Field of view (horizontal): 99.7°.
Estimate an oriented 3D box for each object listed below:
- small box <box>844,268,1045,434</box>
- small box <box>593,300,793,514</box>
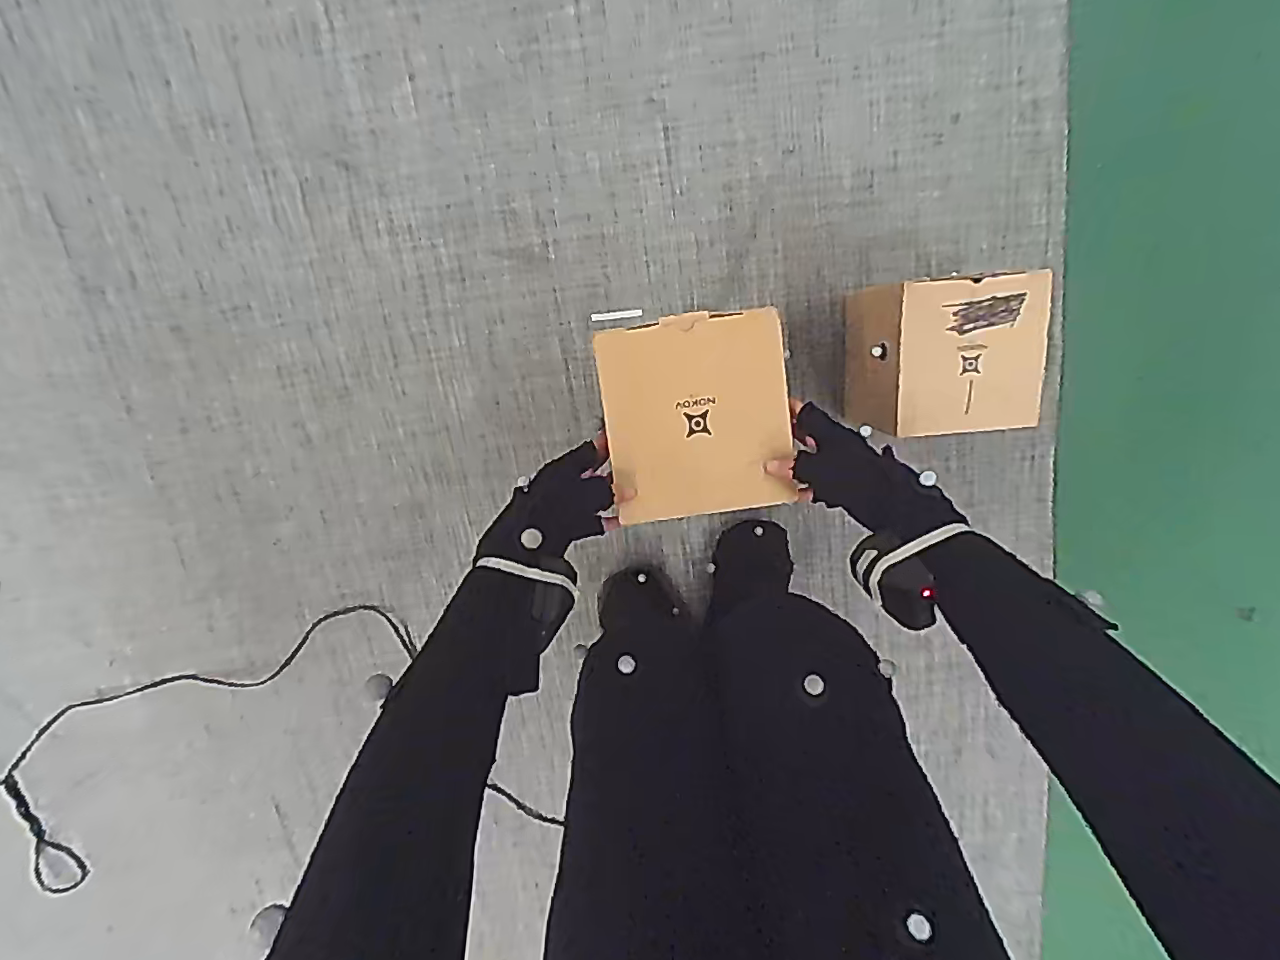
[{"bbox_3d":[0.371,-0.162,0.692,0.168,0.176,0.179,-5,104,2],"label":"small box"},{"bbox_3d":[0.050,-0.072,0.567,0.168,0.176,0.179,-9,95,0],"label":"small box"}]
